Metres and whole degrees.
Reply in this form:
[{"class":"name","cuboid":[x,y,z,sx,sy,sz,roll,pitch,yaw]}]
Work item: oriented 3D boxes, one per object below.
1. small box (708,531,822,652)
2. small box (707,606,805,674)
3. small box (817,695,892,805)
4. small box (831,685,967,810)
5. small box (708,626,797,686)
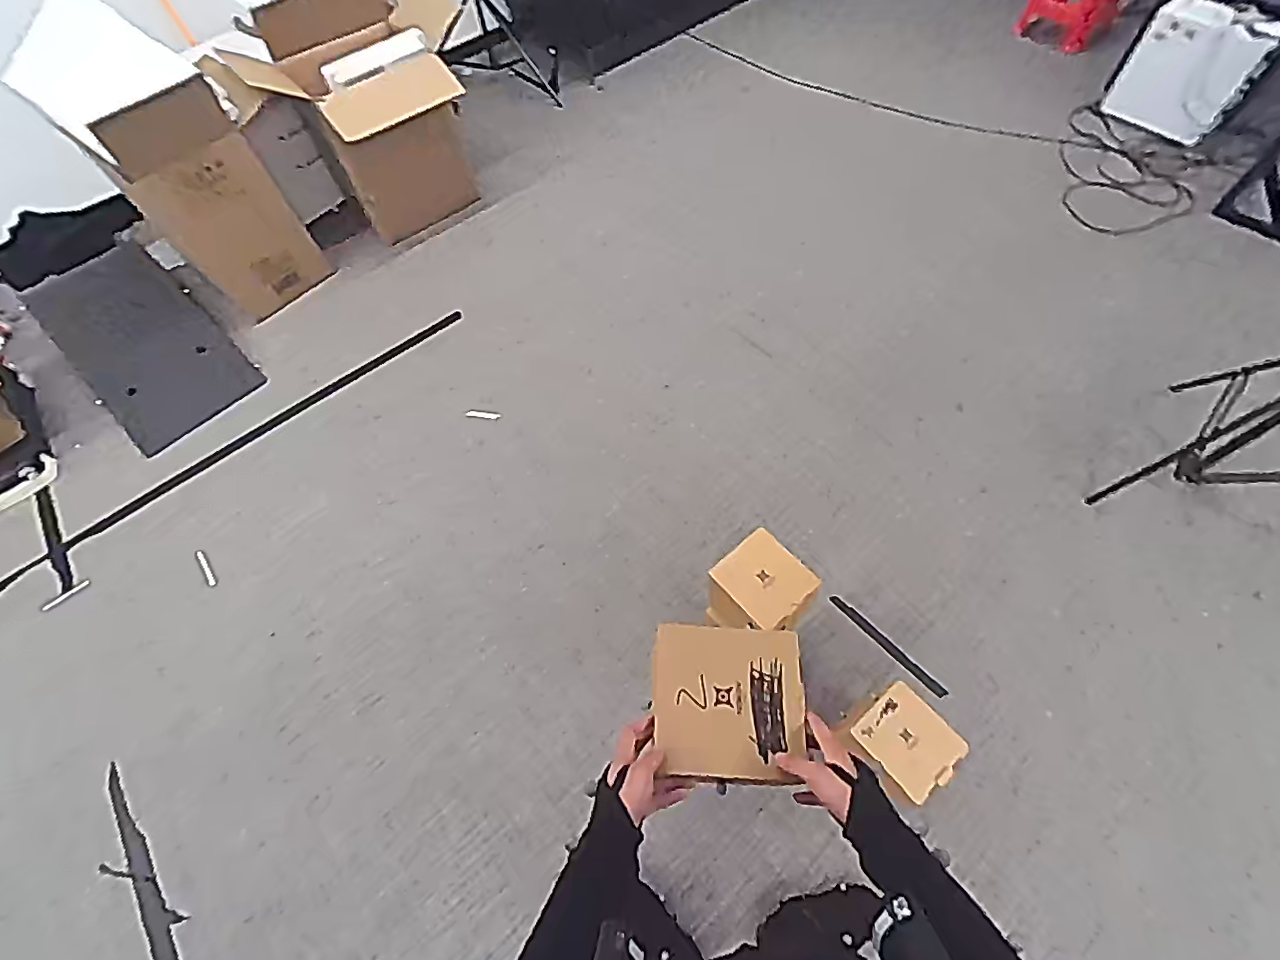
[{"class":"small box","cuboid":[0.266,0.251,1.198,0.168,0.176,0.179,-37,63,-16]},{"class":"small box","cuboid":[0.276,0.346,1.330,0.179,0.176,0.168,-42,64,-17]},{"class":"small box","cuboid":[0.561,0.659,1.316,0.168,0.176,0.179,-37,65,-15]},{"class":"small box","cuboid":[0.551,0.577,1.174,0.168,0.176,0.179,-35,65,-16]},{"class":"small box","cuboid":[0.297,0.430,1.469,0.168,0.176,0.179,38,70,23]}]
